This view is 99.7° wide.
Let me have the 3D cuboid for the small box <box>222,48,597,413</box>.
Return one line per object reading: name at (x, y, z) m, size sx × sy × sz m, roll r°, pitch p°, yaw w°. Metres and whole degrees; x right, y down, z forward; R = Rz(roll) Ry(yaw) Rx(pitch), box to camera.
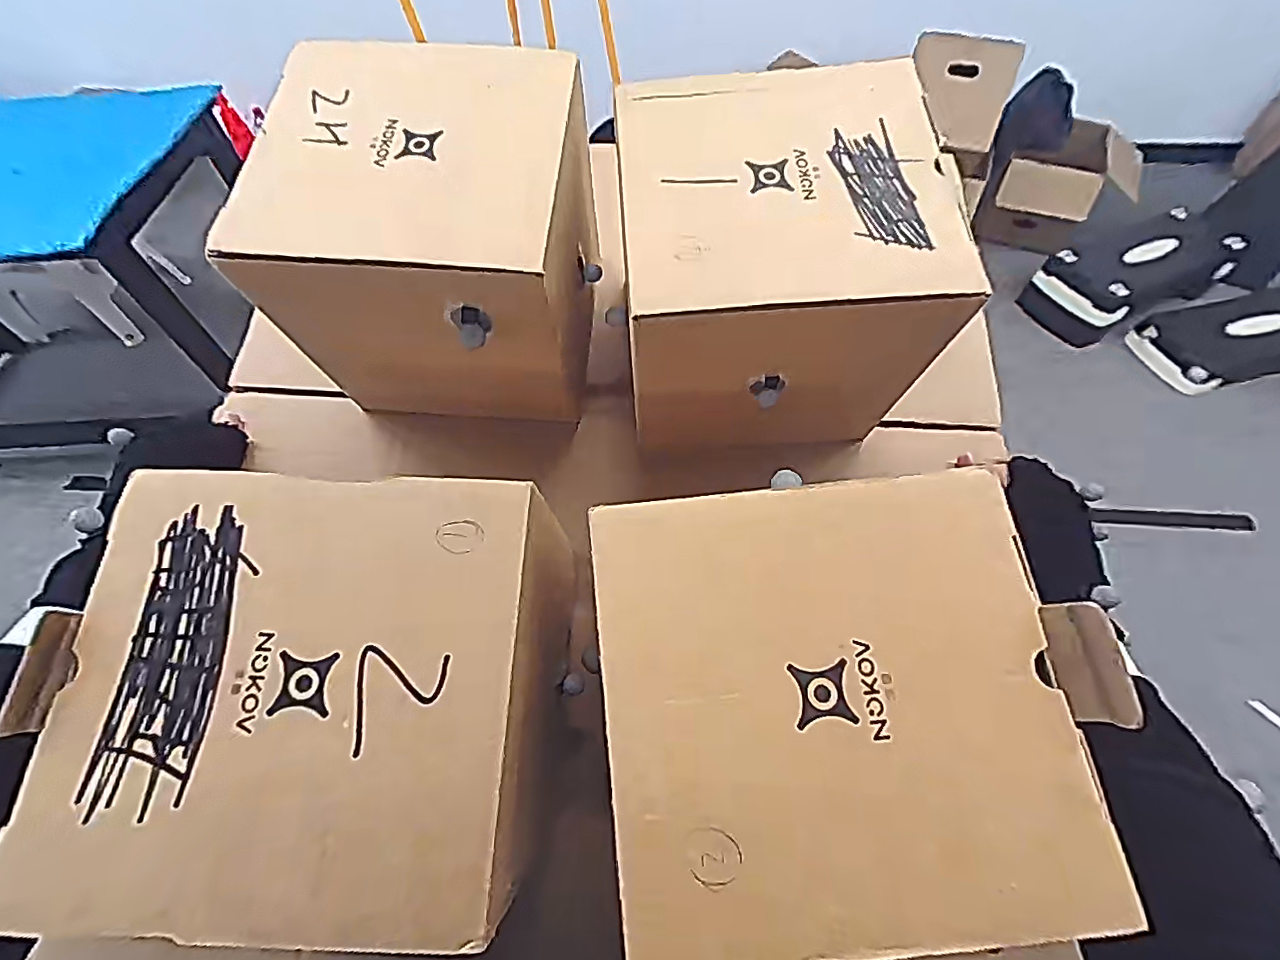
small box at (-0.129, -0.160, 0.386) m, size 0.179 × 0.176 × 0.168 m, roll 5°, pitch 69°, yaw 3°
